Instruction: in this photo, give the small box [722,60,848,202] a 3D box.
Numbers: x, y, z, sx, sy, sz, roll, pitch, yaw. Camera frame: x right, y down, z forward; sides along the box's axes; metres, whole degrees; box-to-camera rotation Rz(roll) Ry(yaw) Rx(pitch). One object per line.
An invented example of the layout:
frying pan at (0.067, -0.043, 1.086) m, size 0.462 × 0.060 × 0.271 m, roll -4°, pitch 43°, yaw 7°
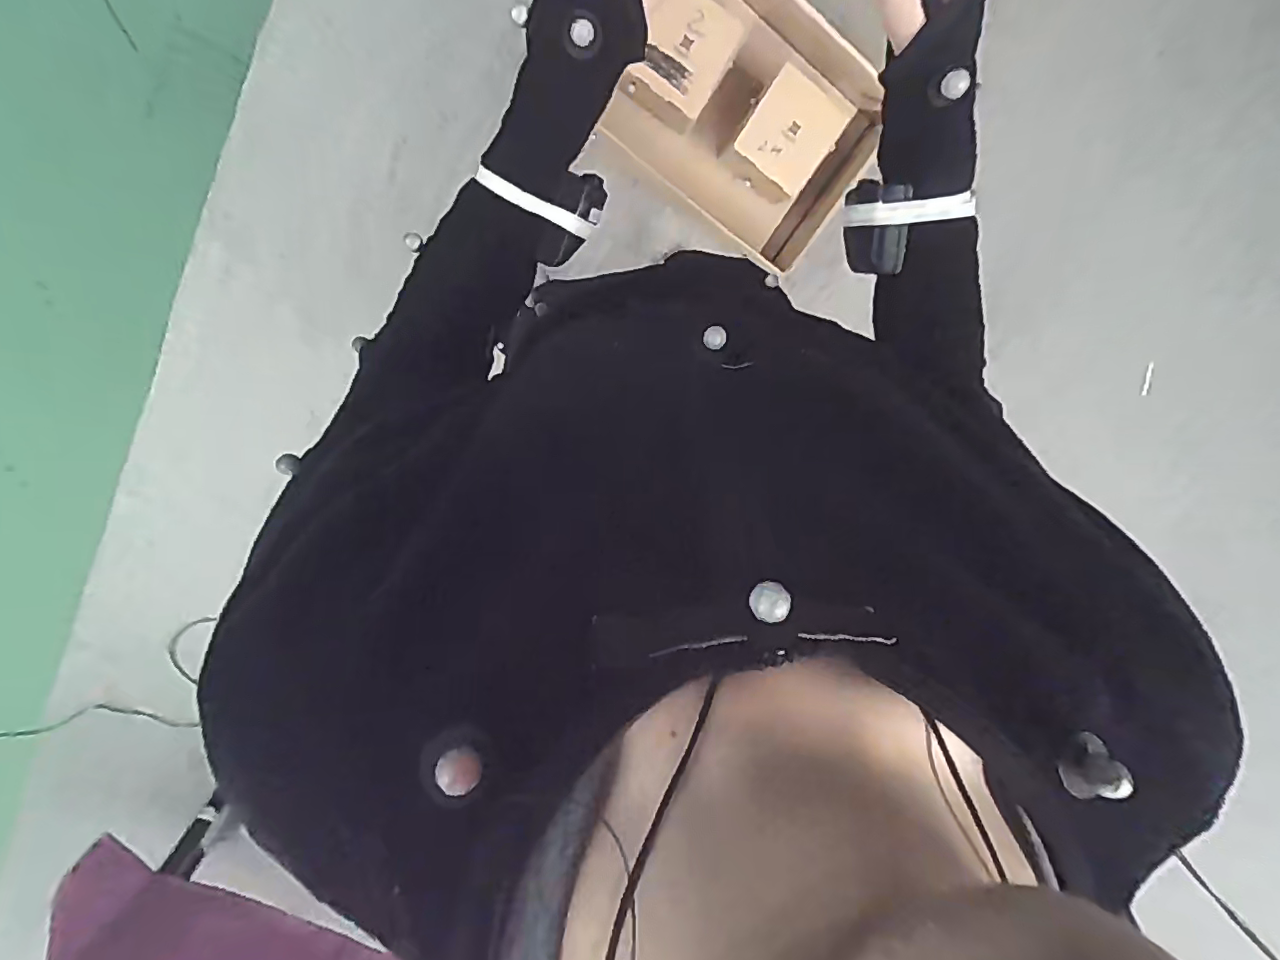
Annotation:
small box at (0.293, -0.720, 1.140) m, size 0.168 × 0.176 × 0.179 m, roll 33°, pitch 107°, yaw -14°
